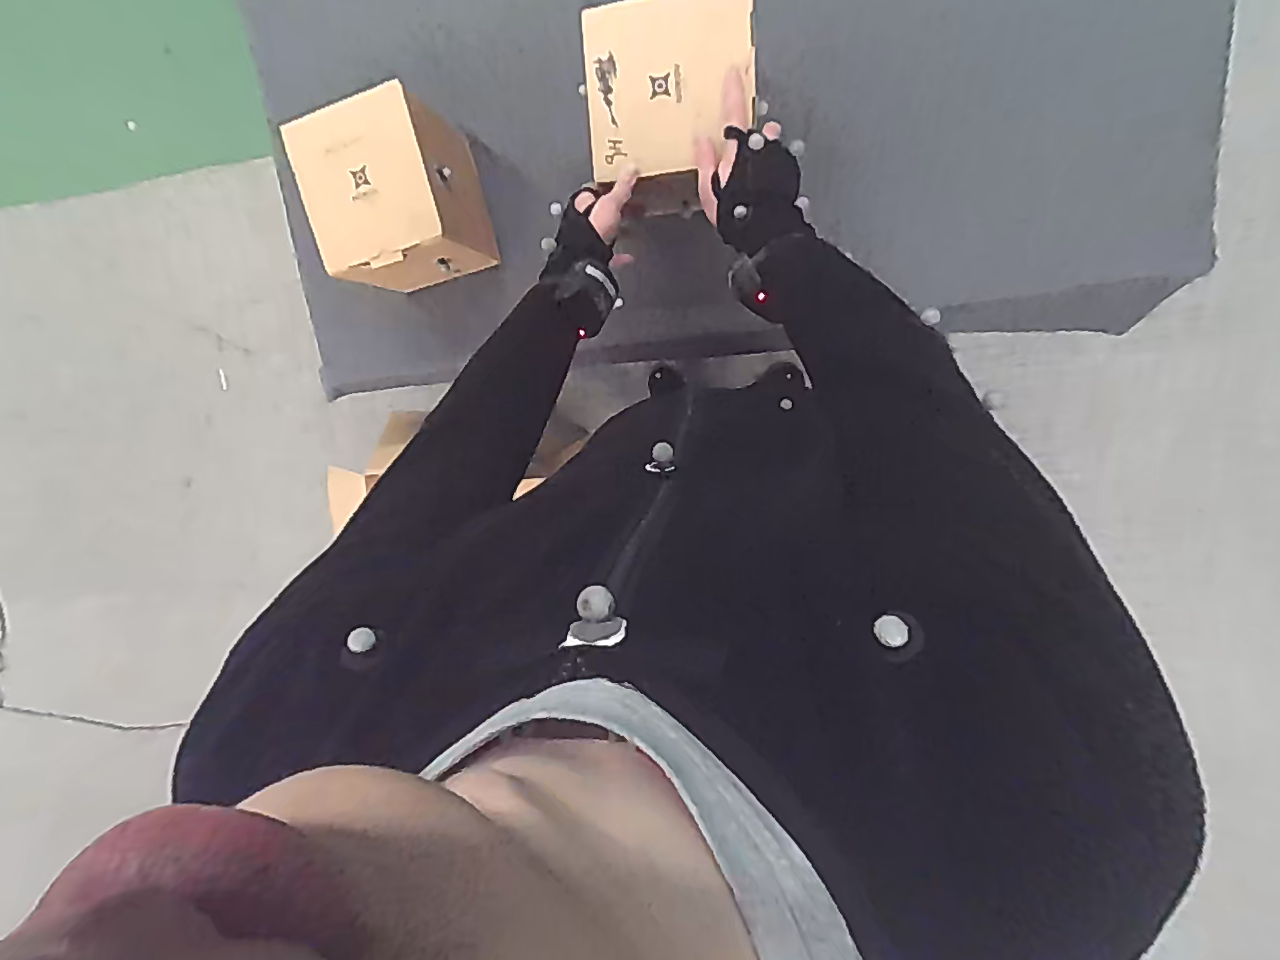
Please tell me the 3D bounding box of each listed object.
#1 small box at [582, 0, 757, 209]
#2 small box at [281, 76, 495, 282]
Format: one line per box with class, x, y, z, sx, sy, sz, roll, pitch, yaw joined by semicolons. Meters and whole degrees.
small box;0.042;-0.429;0.631;0.179;0.176;0.168;-1;104;10
small box;-0.314;-0.372;0.712;0.168;0.176;0.179;-12;99;12
